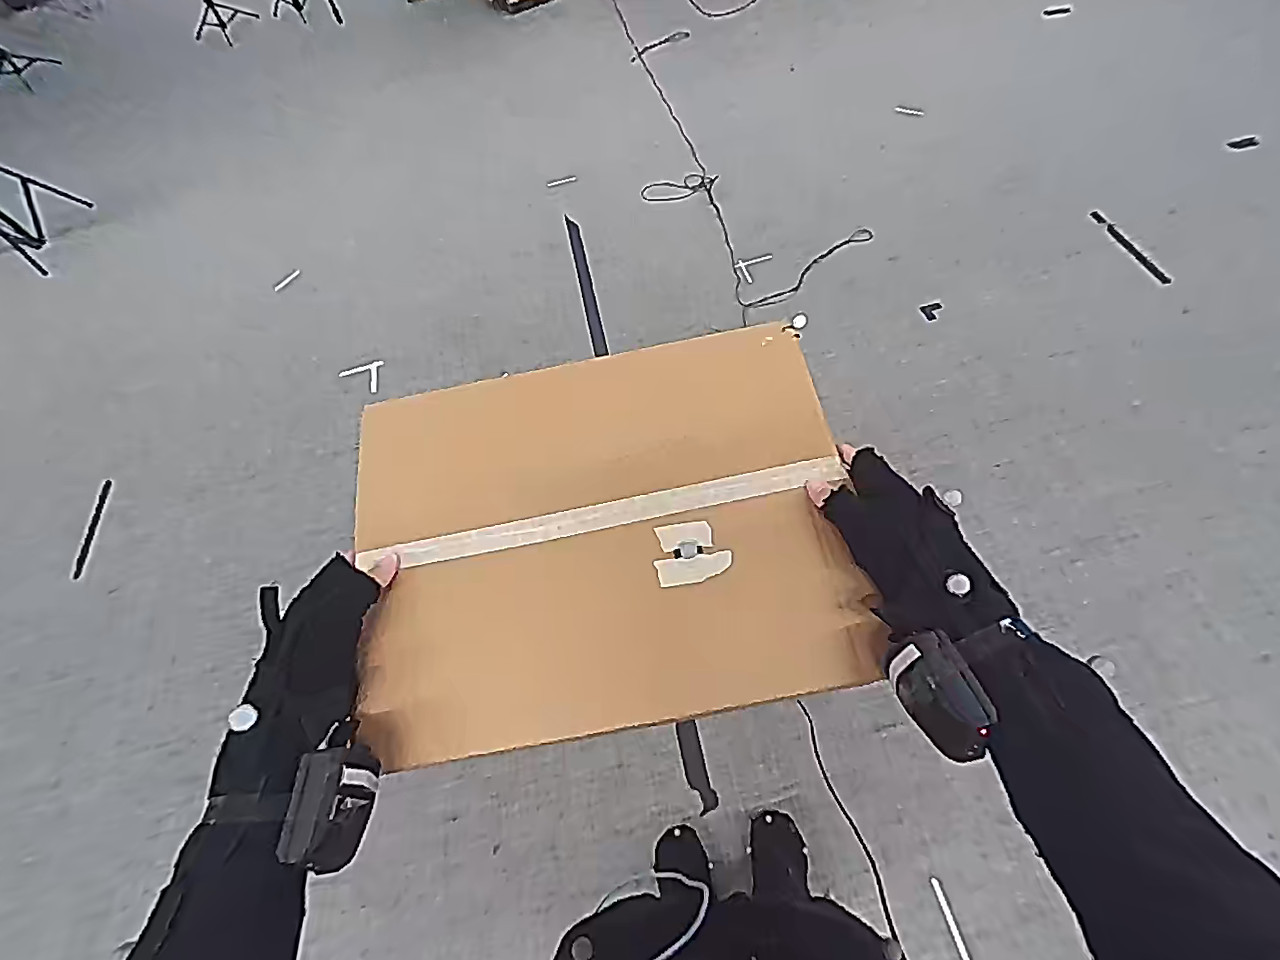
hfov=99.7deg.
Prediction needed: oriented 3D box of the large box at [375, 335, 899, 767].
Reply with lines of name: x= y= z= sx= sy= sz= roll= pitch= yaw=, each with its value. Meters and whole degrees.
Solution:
large box: x=-0.017 y=0.096 z=0.593 sx=0.408 sy=0.320 sz=0.320 roll=-11 pitch=66 yaw=0
